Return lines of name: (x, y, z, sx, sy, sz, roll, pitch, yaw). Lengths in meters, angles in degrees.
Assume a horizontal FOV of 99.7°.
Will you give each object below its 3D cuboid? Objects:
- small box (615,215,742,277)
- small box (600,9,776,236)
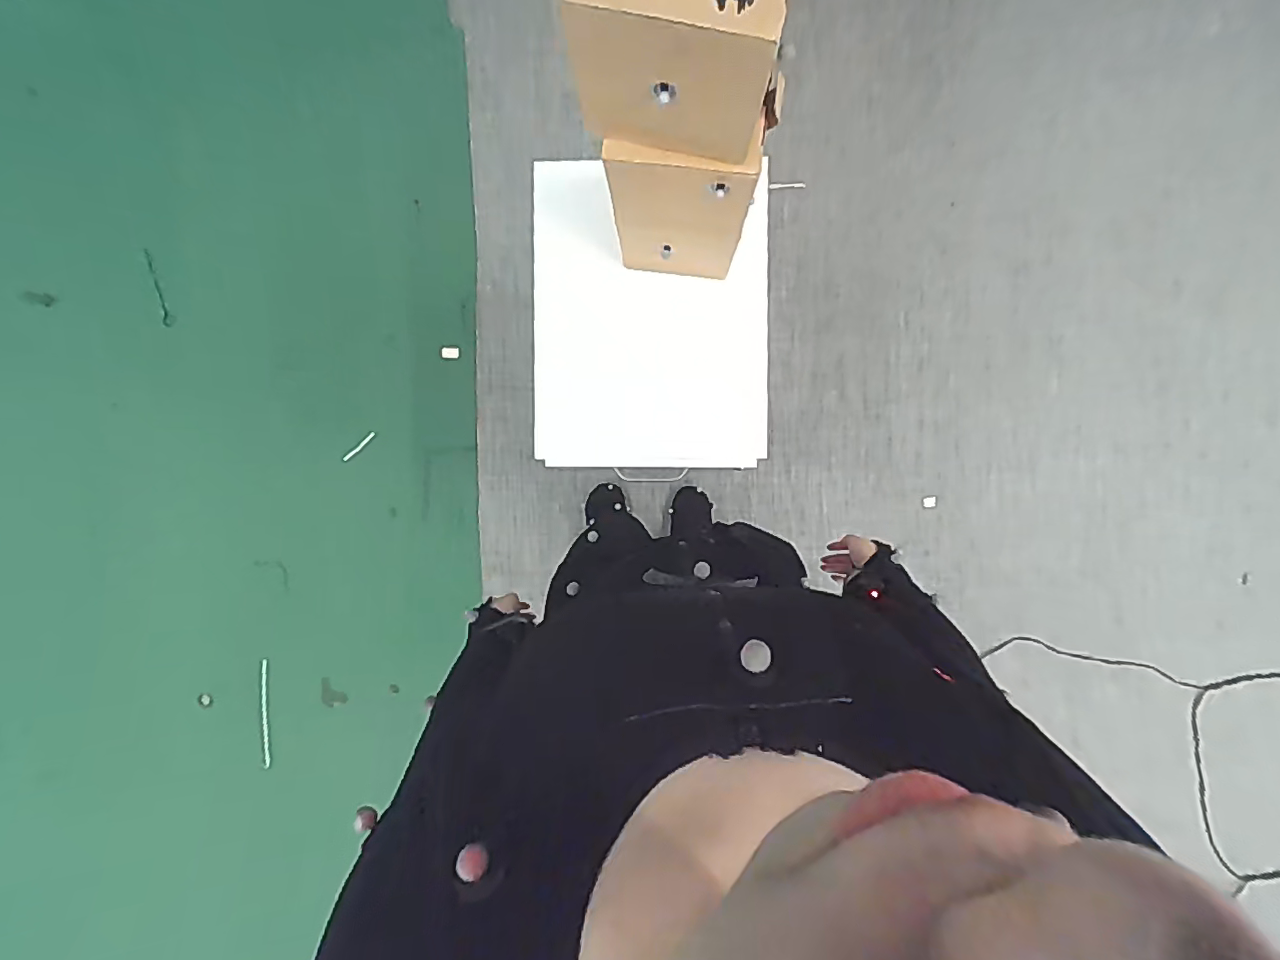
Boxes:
small box: (0.065, -0.425, 0.825, 0.179, 0.176, 0.168, 7, 92, 2)
small box: (0.054, -0.420, 0.663, 0.179, 0.176, 0.168, 6, 91, 2)
